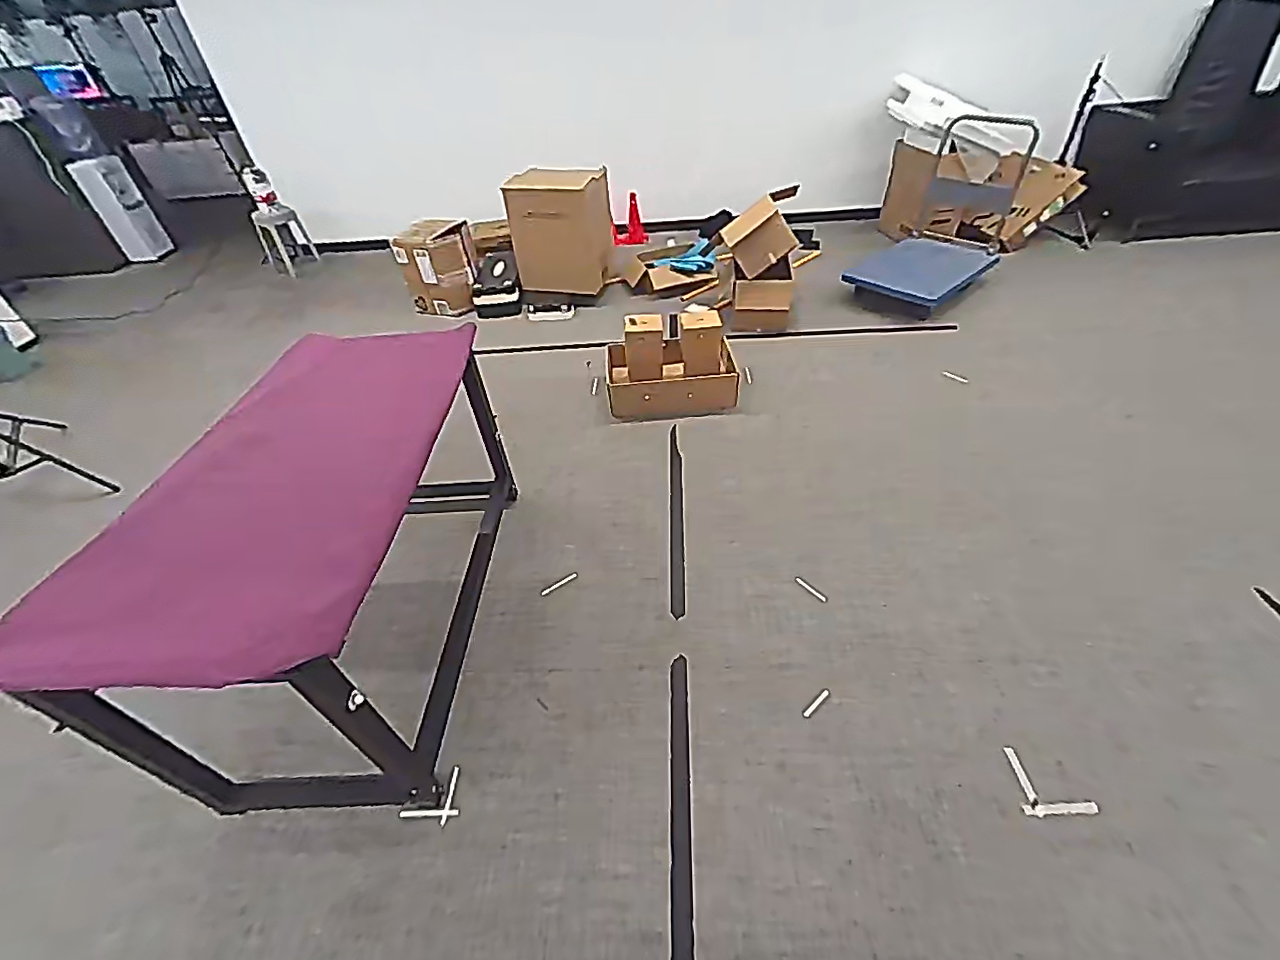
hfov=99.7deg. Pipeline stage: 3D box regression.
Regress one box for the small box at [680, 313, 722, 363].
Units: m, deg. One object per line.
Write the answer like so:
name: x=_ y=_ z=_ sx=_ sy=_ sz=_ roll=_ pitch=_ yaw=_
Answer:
small box: x=0.285 y=-0.670 z=2.553 sx=0.179 sy=0.176 sz=0.168 roll=-6 pitch=42 yaw=1

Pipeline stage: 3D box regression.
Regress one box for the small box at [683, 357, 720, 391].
small box: x=0.301 y=-0.550 z=2.663 sx=0.168 sy=0.176 sz=0.179 roll=-5 pitch=41 yaw=1

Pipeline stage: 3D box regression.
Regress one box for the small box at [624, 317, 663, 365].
small box: x=0.018 y=-0.655 z=2.562 sx=0.179 sy=0.176 sz=0.168 roll=-2 pitch=42 yaw=0
